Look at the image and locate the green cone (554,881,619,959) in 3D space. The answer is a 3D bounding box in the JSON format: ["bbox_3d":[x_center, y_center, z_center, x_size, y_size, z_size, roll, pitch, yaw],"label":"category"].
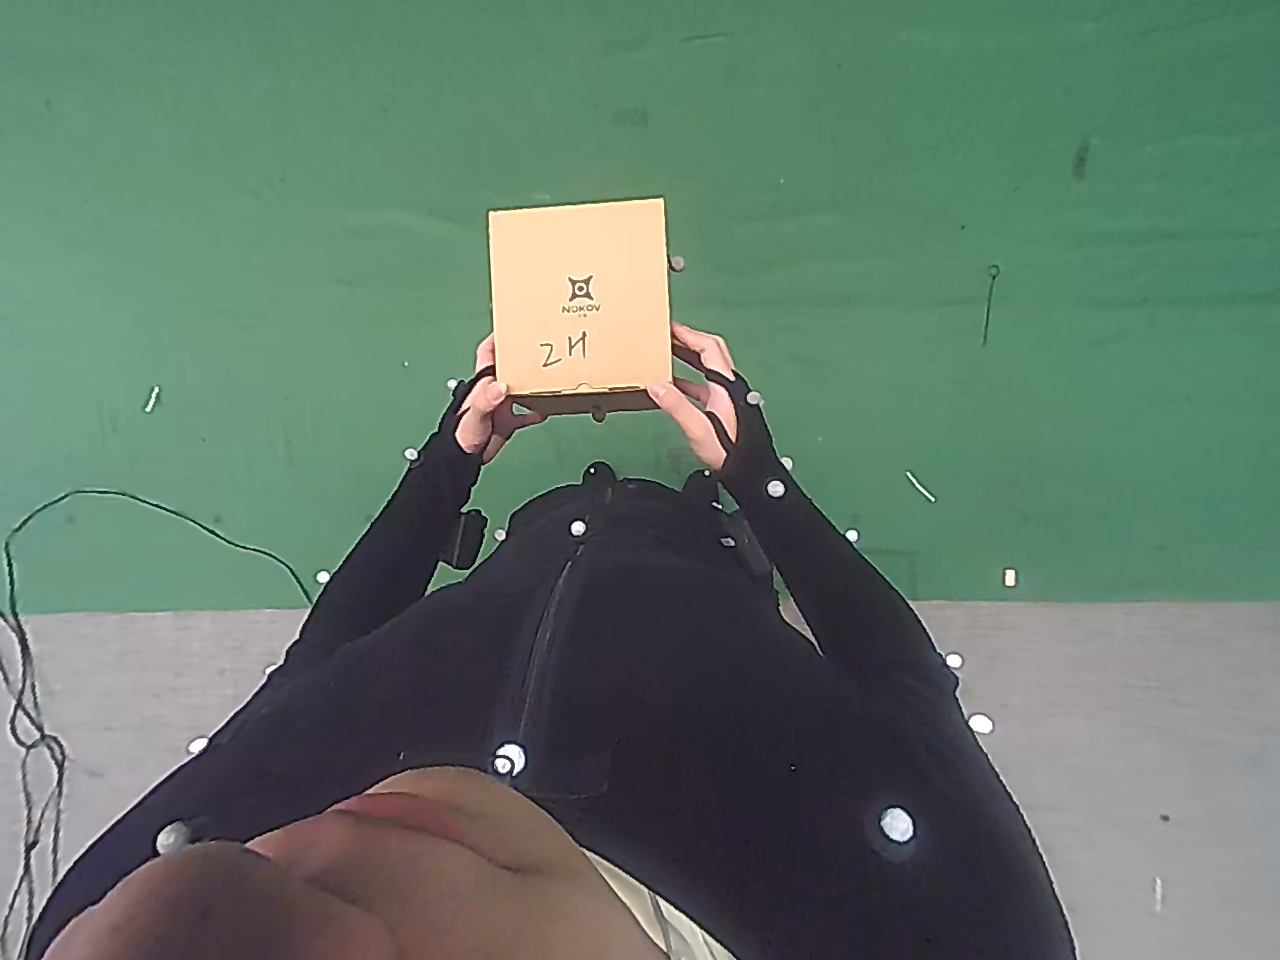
[{"bbox_3d":[-0.175,1.334,1.486,0.202,0.368,0.200,-1,91,4],"label":"green cone"}]
